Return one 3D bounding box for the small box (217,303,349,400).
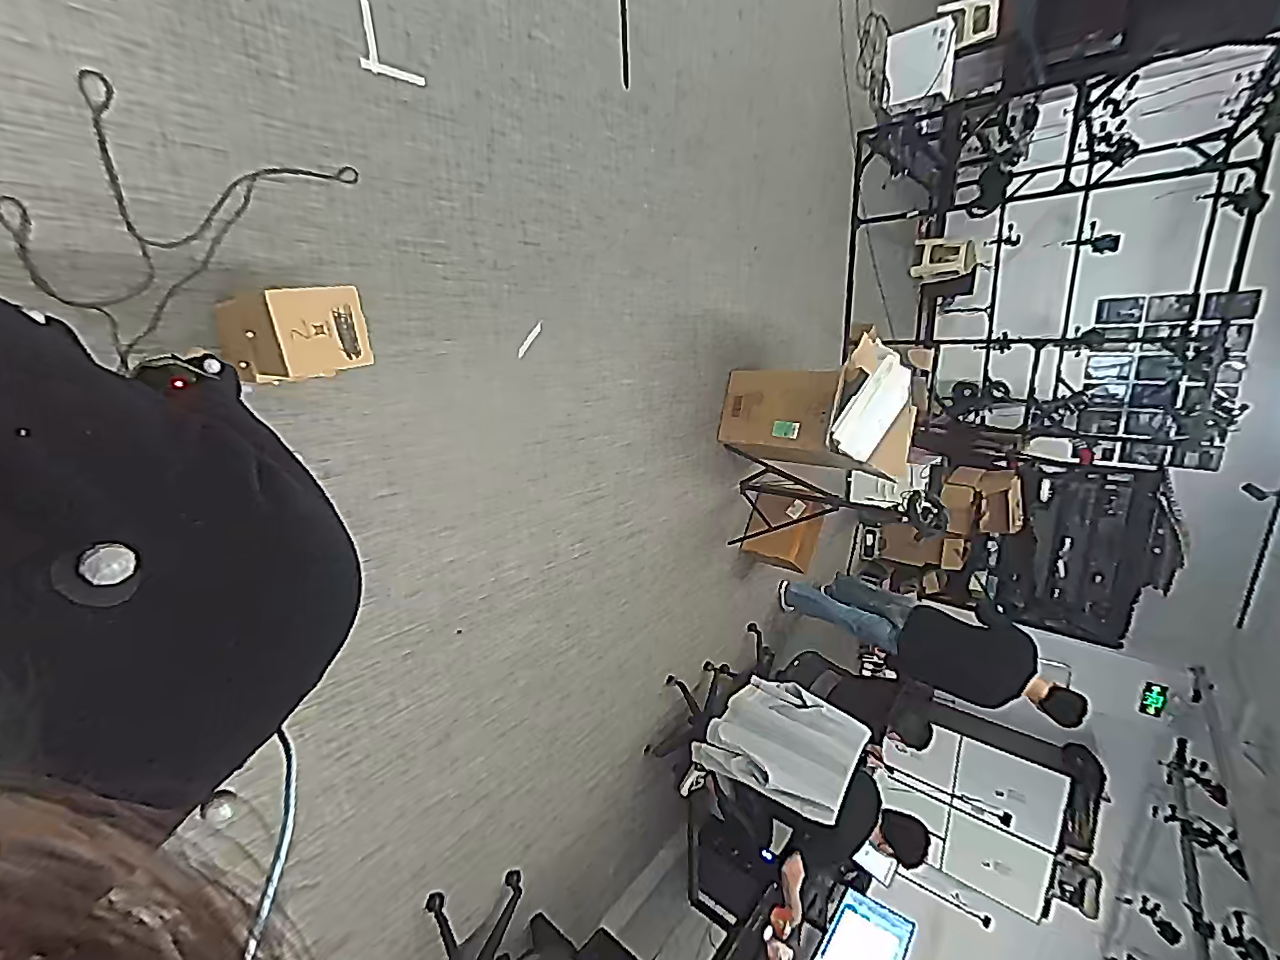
[{"bbox_3d":[-0.797,-0.292,1.221,0.179,0.176,0.168,-44,151,-59],"label":"small box"}]
